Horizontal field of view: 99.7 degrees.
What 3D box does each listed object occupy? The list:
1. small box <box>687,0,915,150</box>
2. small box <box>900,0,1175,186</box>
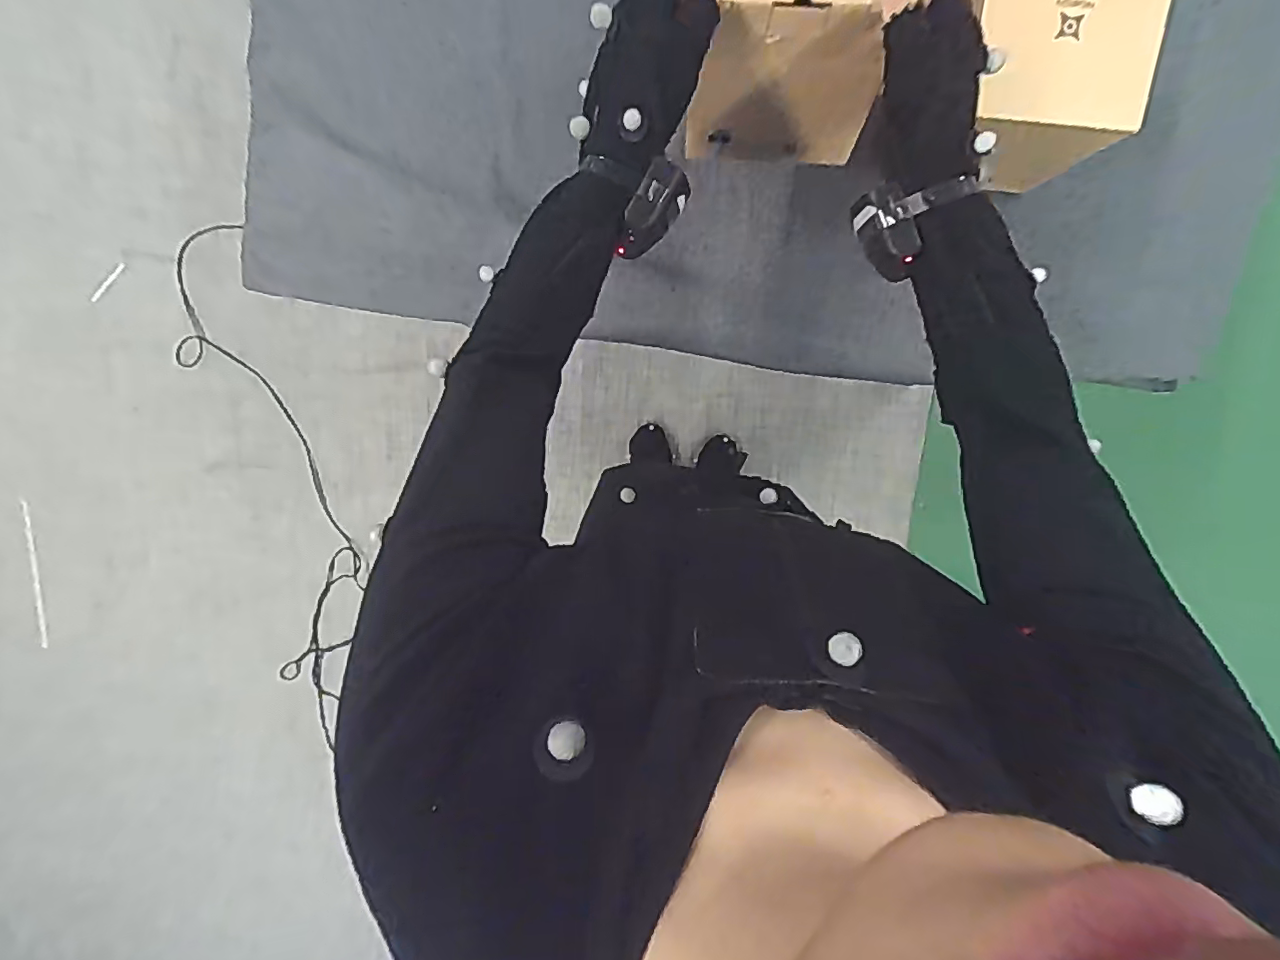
[{"bbox_3d":[0.130,-0.421,0.469,0.168,0.176,0.179,5,85,4],"label":"small box"},{"bbox_3d":[0.395,-0.431,0.564,0.168,0.176,0.179,6,99,2],"label":"small box"}]
